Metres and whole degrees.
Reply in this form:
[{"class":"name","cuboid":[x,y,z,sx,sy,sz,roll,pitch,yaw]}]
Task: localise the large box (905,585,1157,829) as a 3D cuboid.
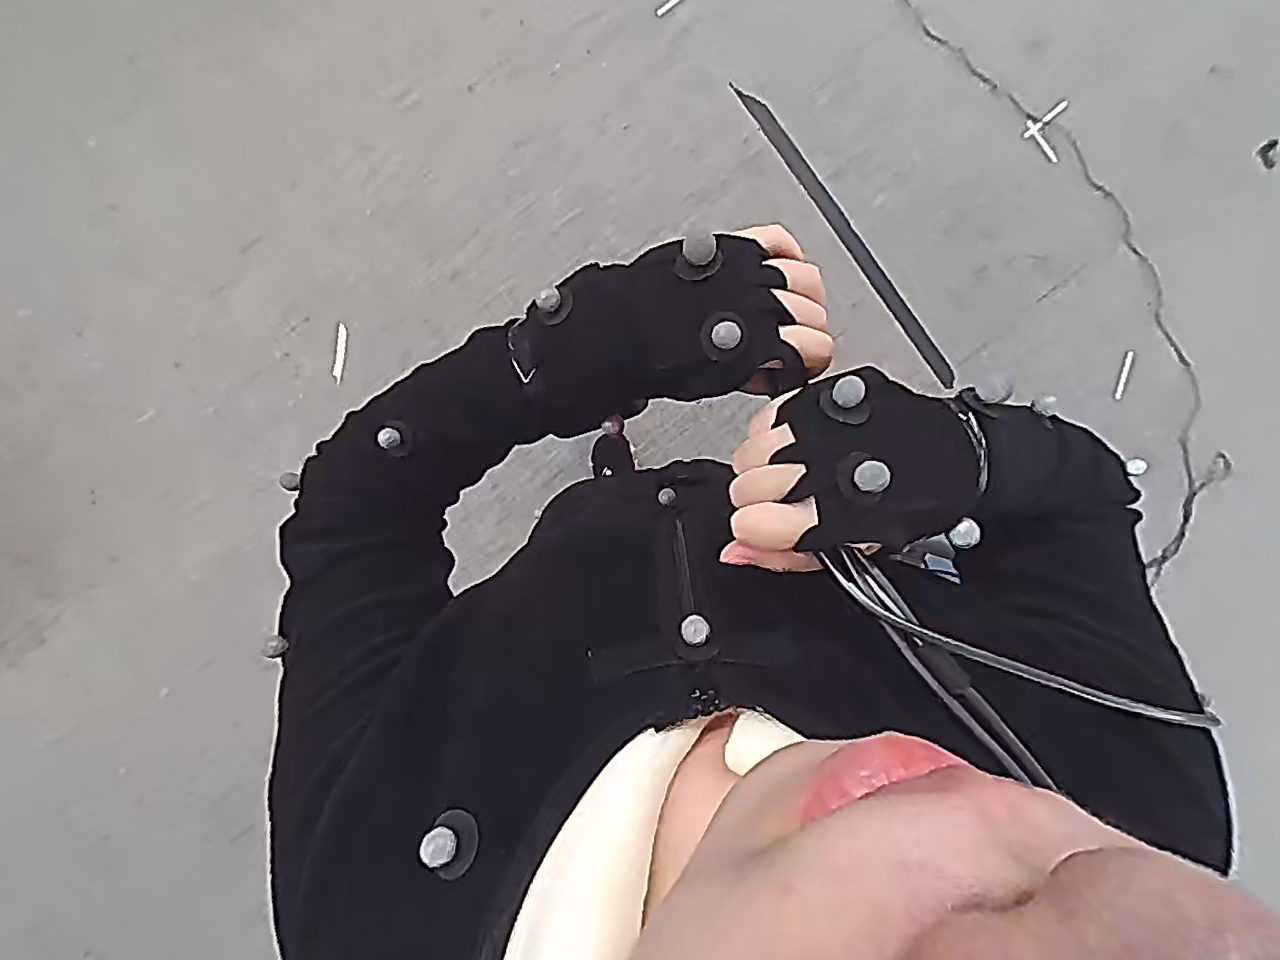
[{"class":"large box","cuboid":[0.849,0.482,1.224,0.320,0.320,0.408,8,92,-1]}]
